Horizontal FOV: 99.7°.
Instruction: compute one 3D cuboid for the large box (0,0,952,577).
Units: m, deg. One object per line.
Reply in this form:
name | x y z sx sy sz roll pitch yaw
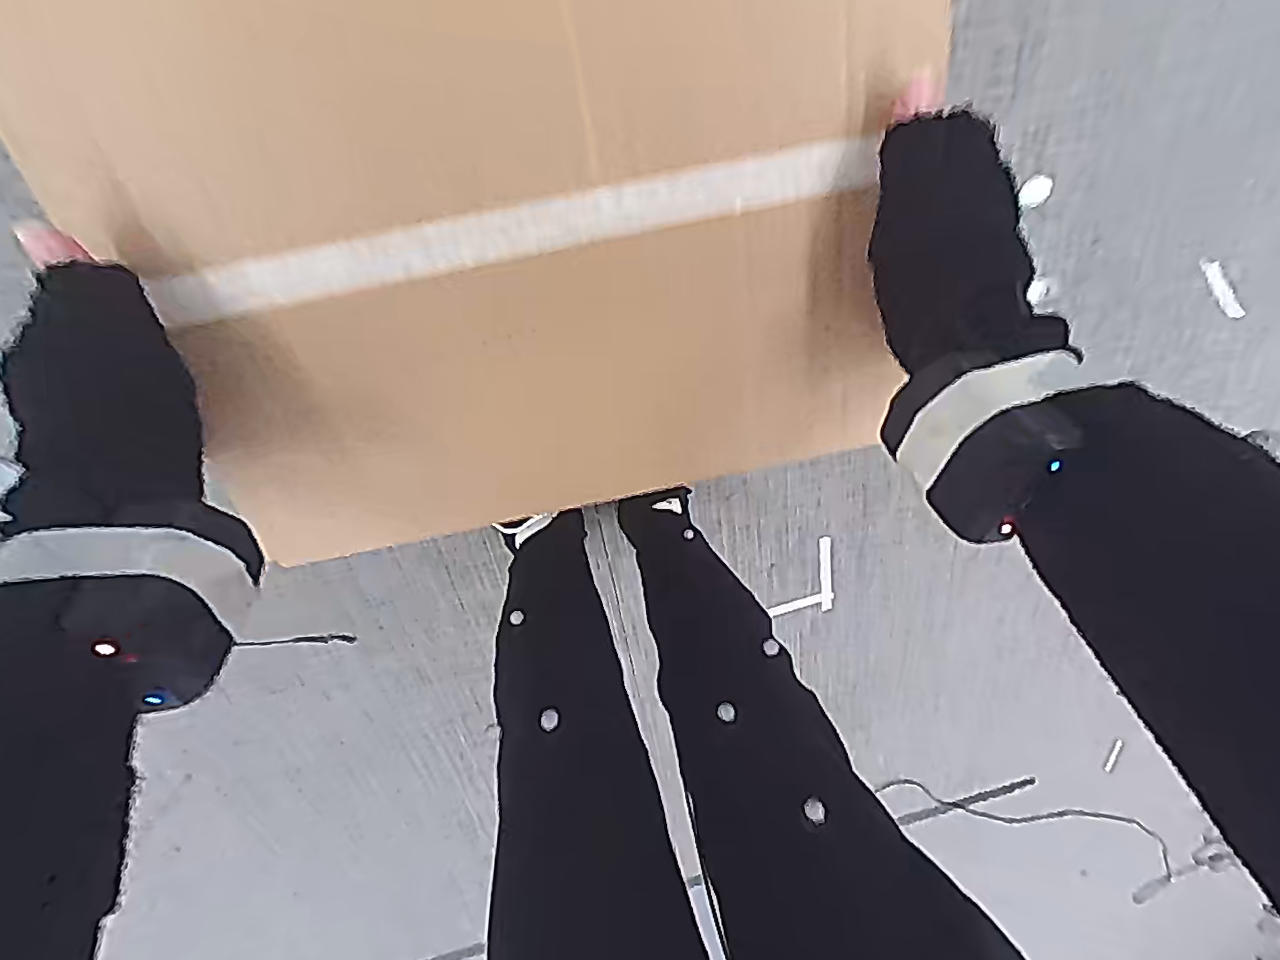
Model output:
large box | -0.065 -0.180 0.398 0.408 0.320 0.320 -12 120 -1
